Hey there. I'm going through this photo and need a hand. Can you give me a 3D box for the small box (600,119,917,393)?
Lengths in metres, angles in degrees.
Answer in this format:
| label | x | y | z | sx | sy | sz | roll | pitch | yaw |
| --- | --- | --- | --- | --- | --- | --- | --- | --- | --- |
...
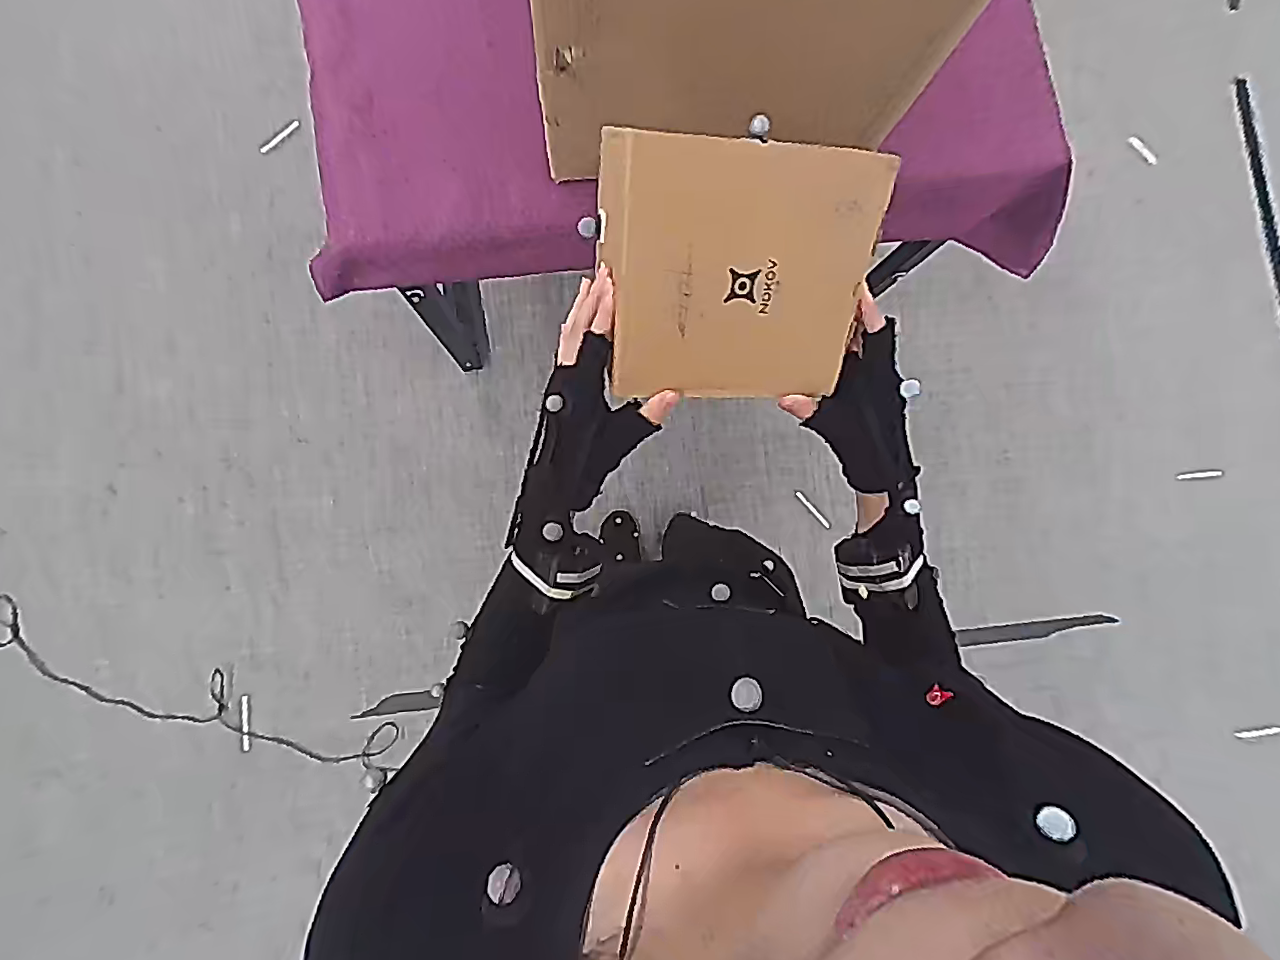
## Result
| label | x | y | z | sx | sy | sz | roll | pitch | yaw |
| --- | --- | --- | --- | --- | --- | --- | --- | --- | --- |
| small box | 0.067 | -0.177 | 0.423 | 0.179 | 0.176 | 0.168 | -1 | 122 | -10 |
